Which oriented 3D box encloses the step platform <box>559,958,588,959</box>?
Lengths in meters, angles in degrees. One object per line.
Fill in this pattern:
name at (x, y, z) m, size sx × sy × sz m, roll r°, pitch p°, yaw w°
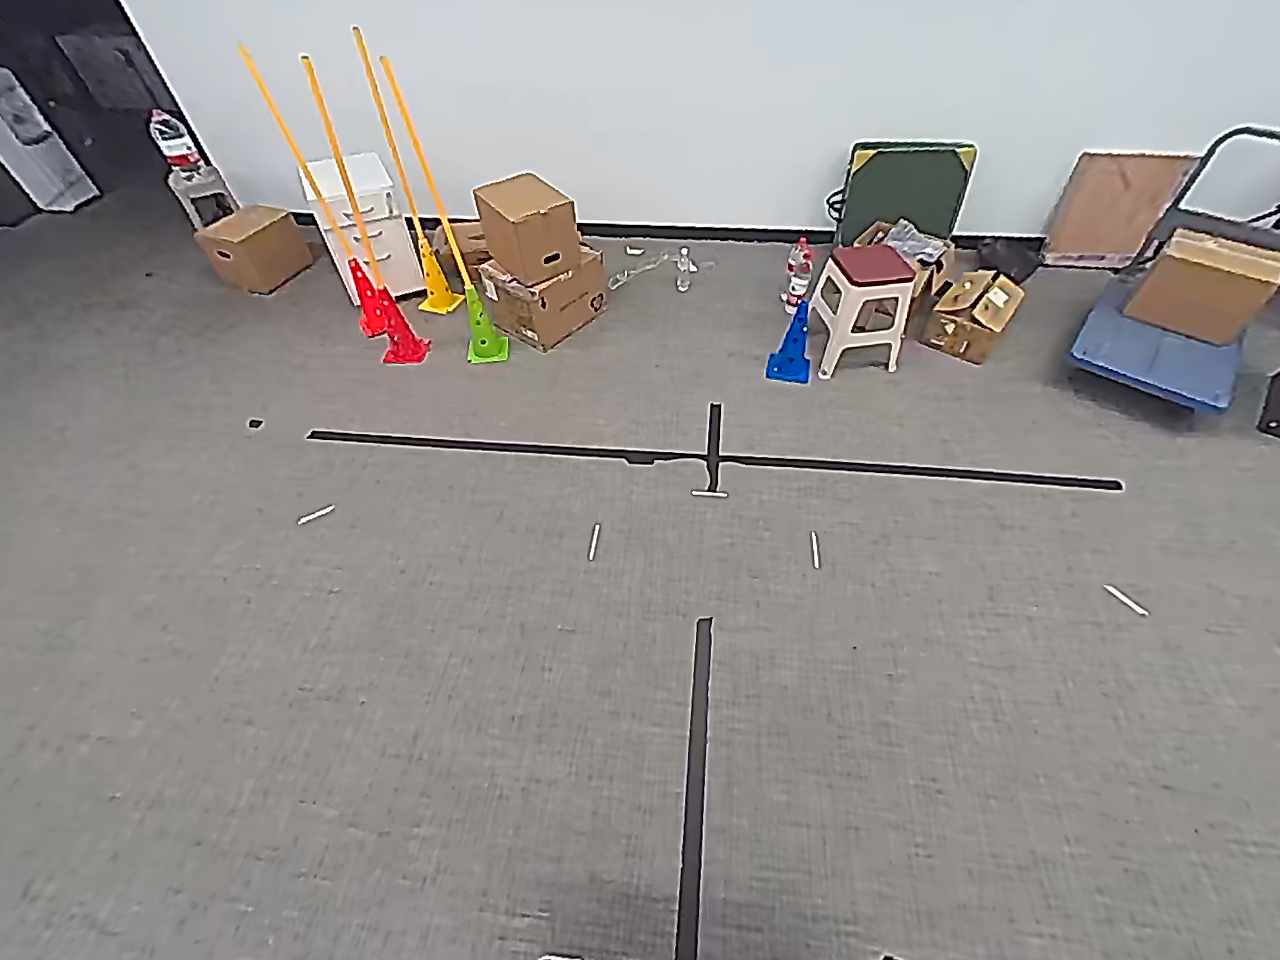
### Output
step platform at (0.123, 1.164, 1.065) m, size 0.684 × 0.204 × 0.286 m, roll 4°, pitch 50°, yaw 3°
